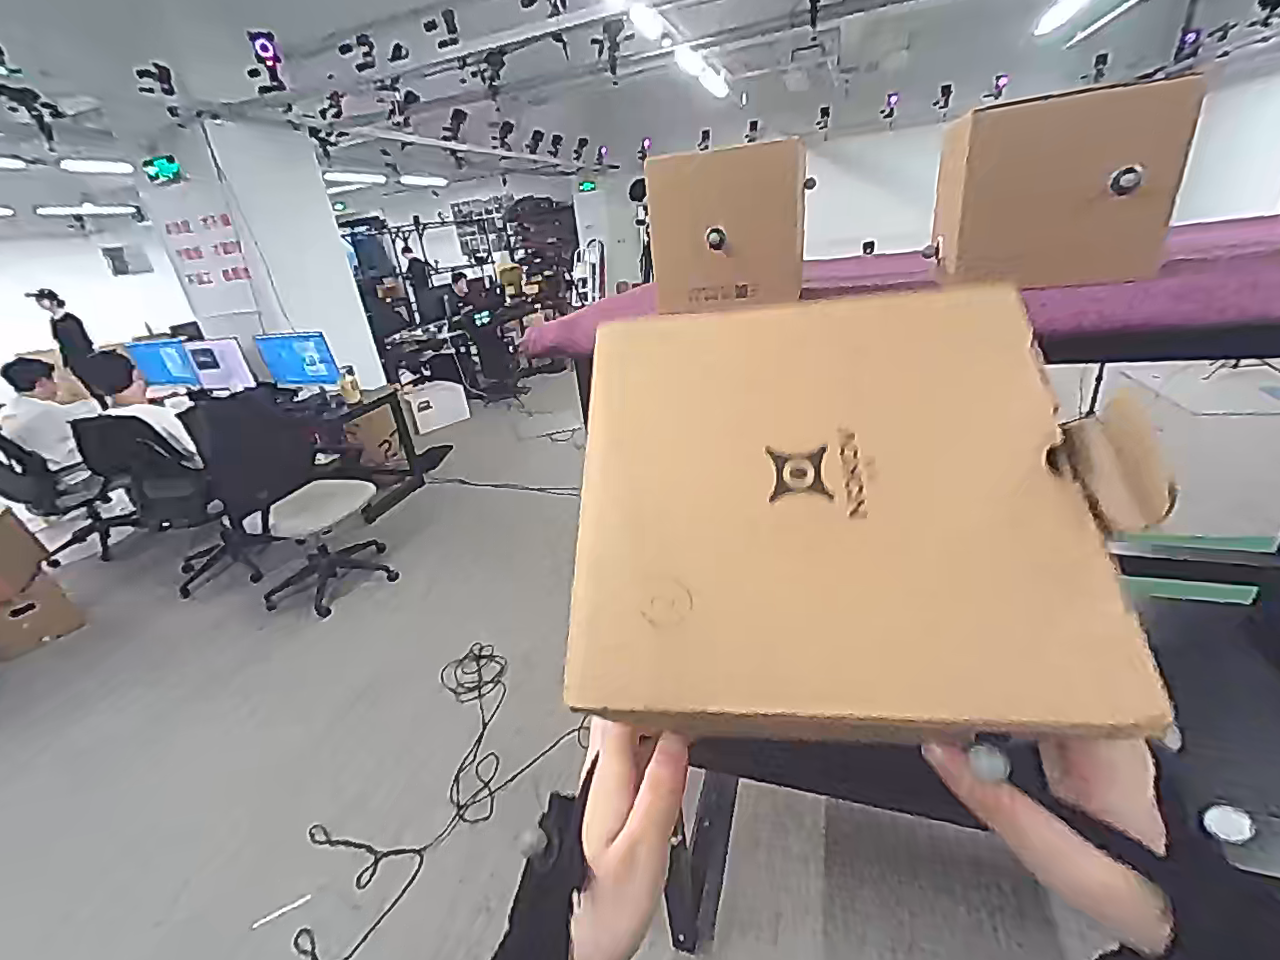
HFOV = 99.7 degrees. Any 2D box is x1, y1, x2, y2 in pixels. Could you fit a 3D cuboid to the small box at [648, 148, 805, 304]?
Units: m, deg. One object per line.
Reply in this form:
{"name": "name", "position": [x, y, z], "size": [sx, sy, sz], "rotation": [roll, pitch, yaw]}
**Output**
{"name": "small box", "position": [0.119, -0.304, 0.685], "size": [0.168, 0.176, 0.179], "rotation": [3, 26, 18]}

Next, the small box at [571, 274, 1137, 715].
{"name": "small box", "position": [0.078, 0.025, 0.278], "size": [0.179, 0.176, 0.168], "rotation": [-2, 63, 9]}

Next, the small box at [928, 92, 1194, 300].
{"name": "small box", "position": [0.425, -0.292, 0.588], "size": [0.179, 0.176, 0.168], "rotation": [1, 25, 19]}
